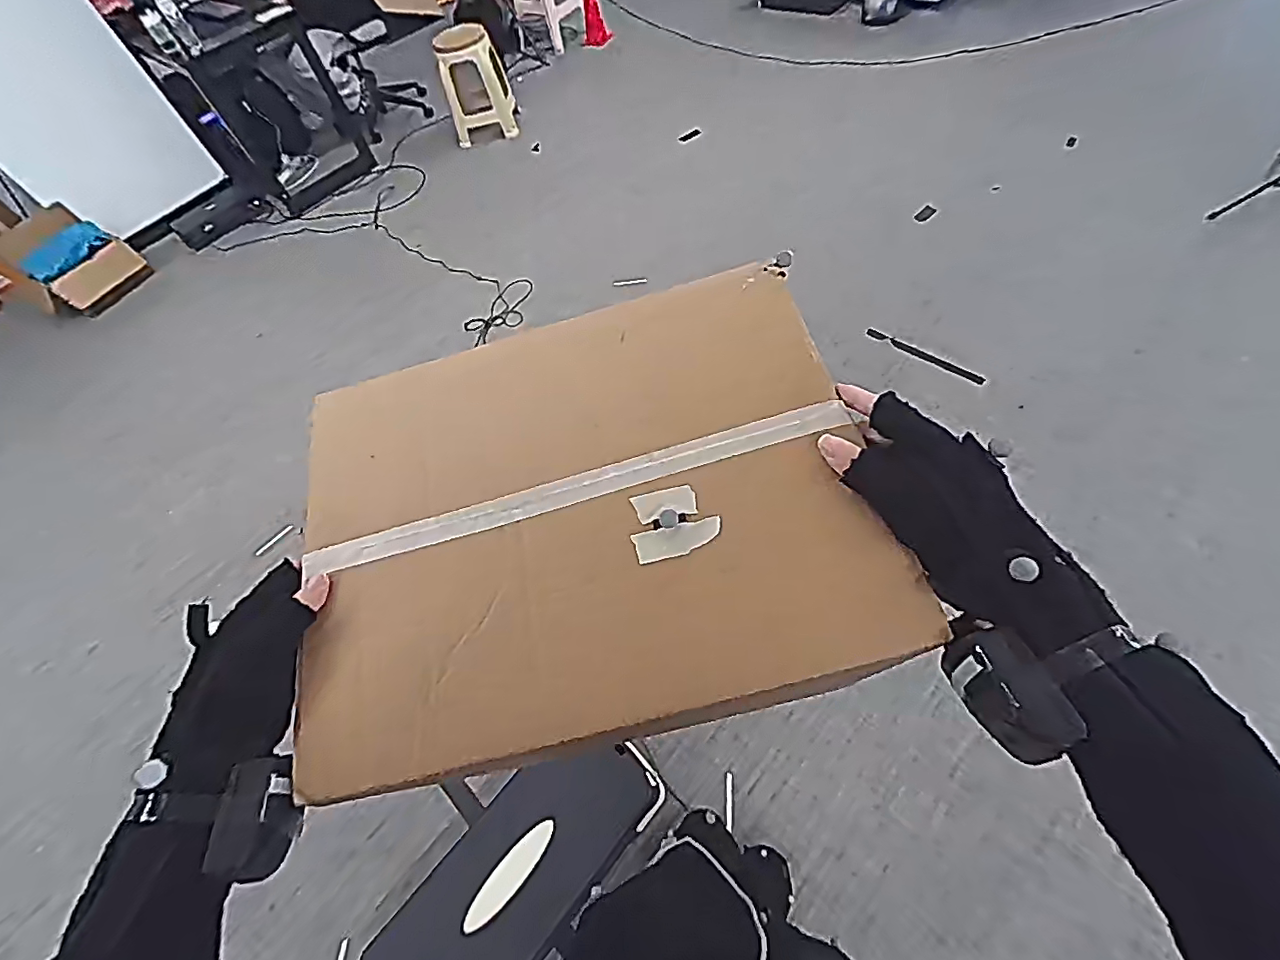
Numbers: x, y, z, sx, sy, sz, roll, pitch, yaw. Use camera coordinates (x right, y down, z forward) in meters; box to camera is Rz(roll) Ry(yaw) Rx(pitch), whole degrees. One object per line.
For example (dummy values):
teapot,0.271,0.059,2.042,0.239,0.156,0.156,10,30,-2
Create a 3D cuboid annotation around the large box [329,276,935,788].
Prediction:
large box,-0.019,0.073,0.535,0.408,0.320,0.320,-16,64,3
